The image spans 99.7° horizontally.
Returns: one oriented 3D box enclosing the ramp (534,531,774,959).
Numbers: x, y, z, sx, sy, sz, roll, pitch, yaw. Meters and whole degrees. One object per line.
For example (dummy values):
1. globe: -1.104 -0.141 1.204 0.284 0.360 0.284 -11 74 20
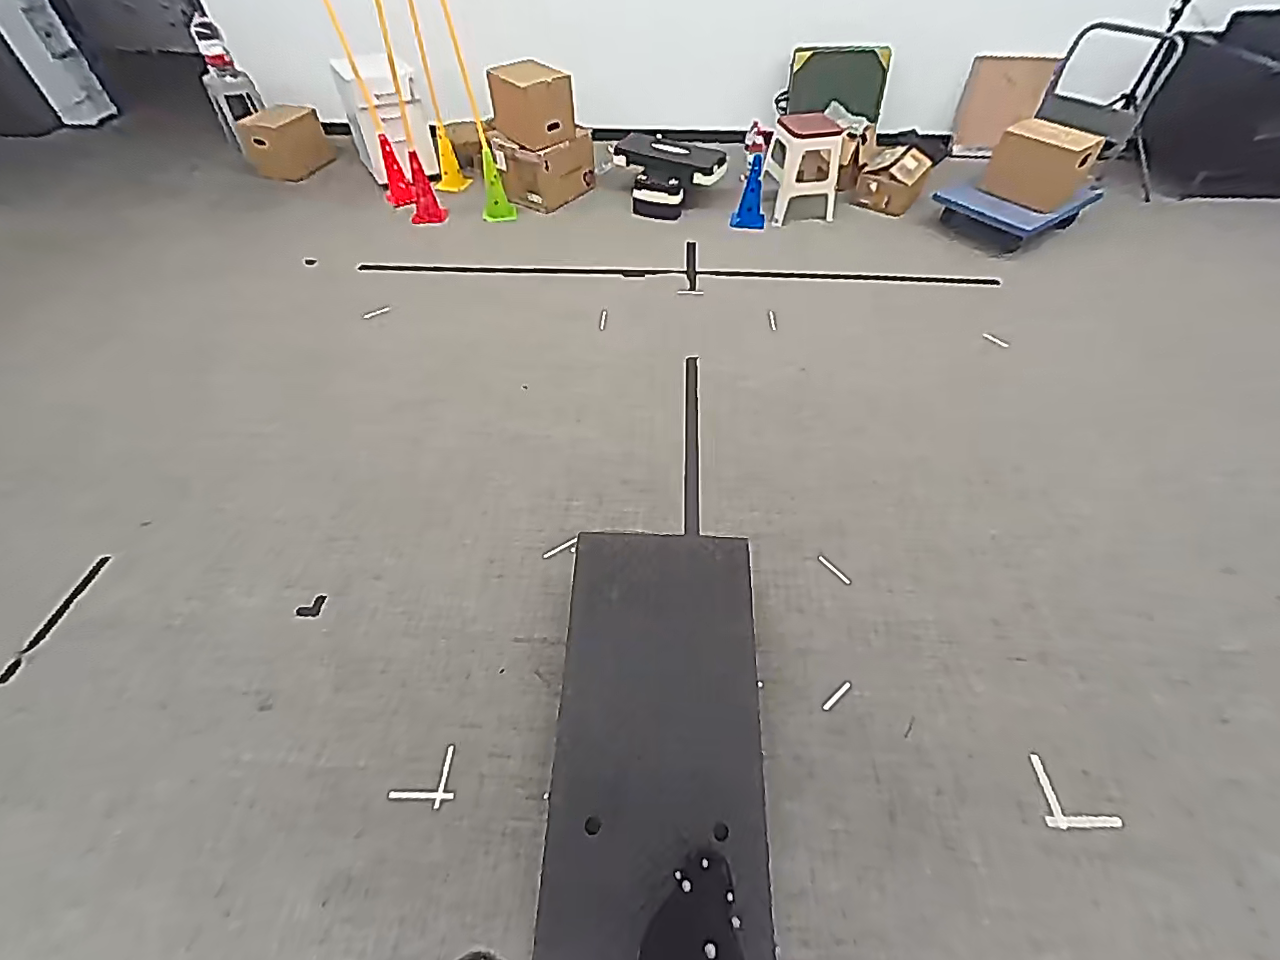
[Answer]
1. ramp: 0.048 0.588 1.311 0.509 0.206 0.991 1 50 0
